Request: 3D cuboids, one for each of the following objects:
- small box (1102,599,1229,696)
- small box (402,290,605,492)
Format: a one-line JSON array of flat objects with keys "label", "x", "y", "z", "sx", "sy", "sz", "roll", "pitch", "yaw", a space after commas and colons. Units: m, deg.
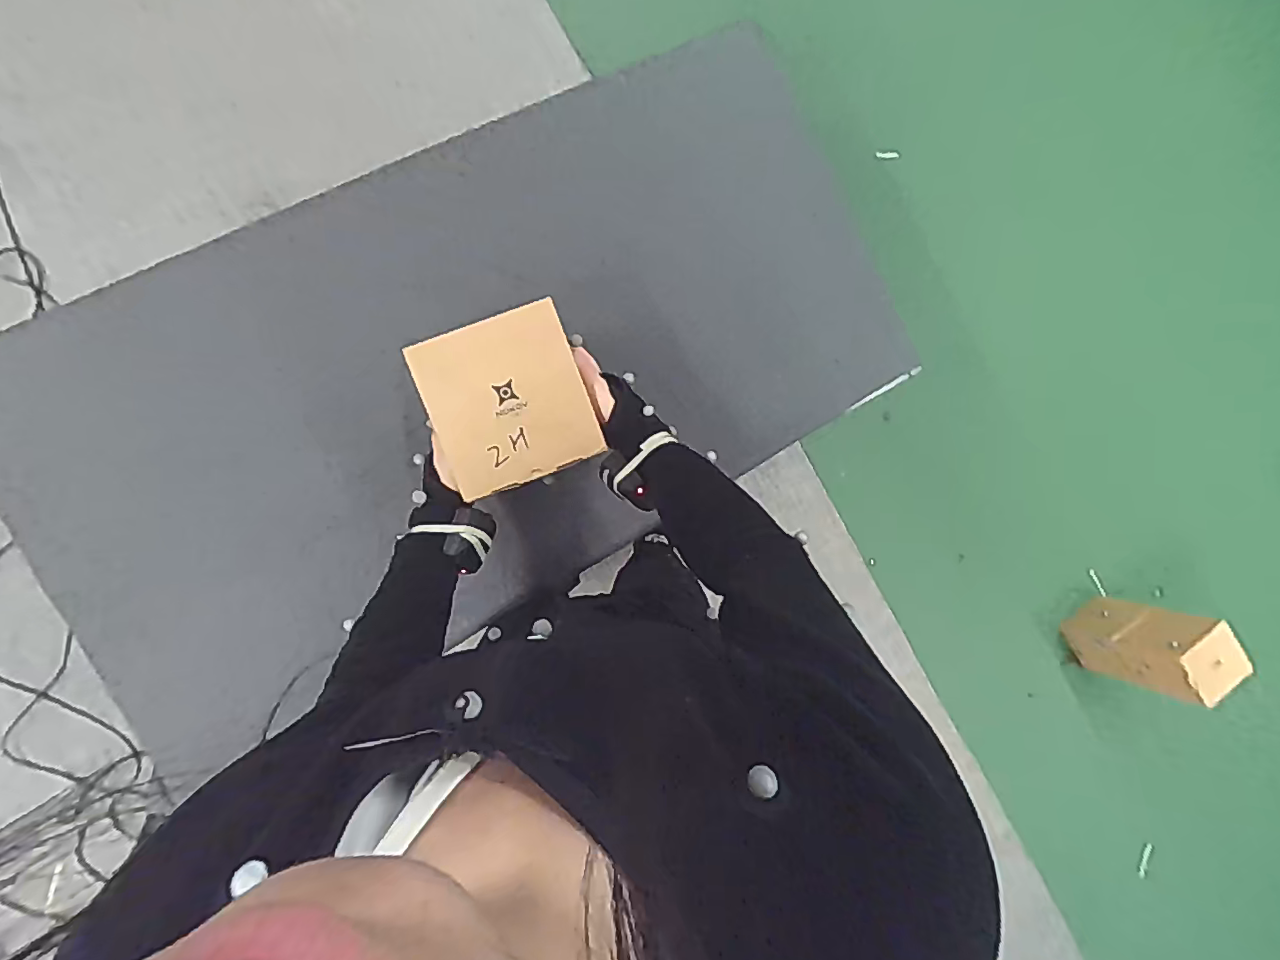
[{"label": "small box", "x": 1.466, "y": 0.460, "z": 1.519, "sx": 0.179, "sy": 0.176, "sz": 0.168, "roll": -35, "pitch": 96, "yaw": -8}, {"label": "small box", "x": -0.150, "y": -0.097, "z": 0.644, "sx": 0.168, "sy": 0.176, "sz": 0.179, "roll": -20, "pitch": 96, "yaw": -4}]
